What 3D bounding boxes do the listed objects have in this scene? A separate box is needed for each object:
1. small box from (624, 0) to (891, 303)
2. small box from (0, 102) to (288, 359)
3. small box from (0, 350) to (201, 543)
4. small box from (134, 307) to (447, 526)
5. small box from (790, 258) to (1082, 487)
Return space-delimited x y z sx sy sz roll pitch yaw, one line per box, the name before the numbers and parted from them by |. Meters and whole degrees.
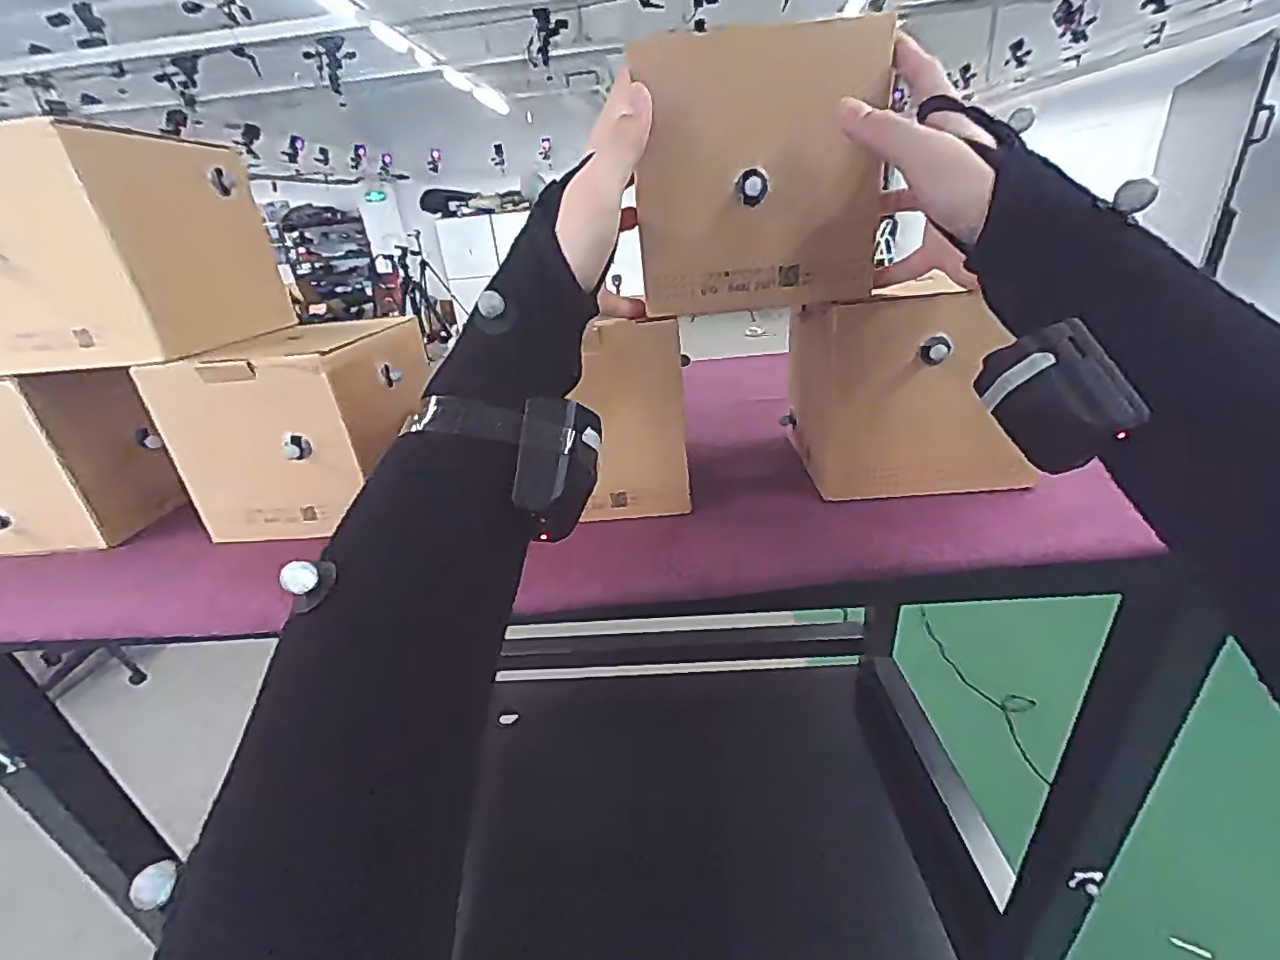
small box | 0.081 -0.240 0.435 0.168 0.176 0.179 -4 25 3
small box | -0.454 -0.204 0.472 0.168 0.176 0.179 -4 25 4
small box | -0.582 -0.046 0.543 0.179 0.176 0.168 -4 25 1
small box | -0.310 -0.064 0.530 0.168 0.176 0.179 -3 25 5
small box | 0.240 -0.101 0.491 0.179 0.176 0.168 -3 25 4
